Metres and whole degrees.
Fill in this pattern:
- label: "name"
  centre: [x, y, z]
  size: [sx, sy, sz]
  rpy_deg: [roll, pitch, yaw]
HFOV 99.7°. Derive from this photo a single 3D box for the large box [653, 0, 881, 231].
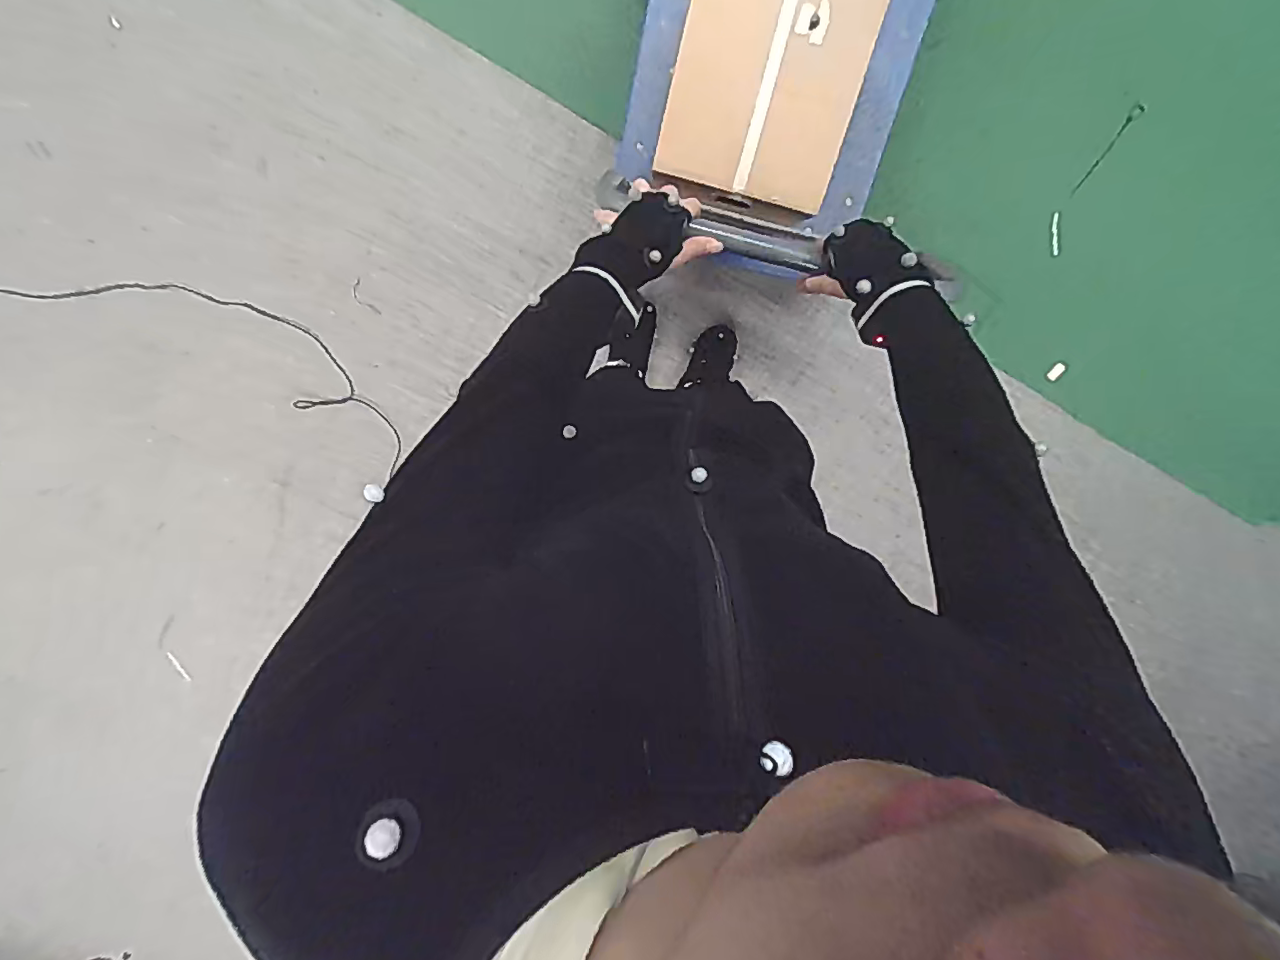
- label: "large box"
  centre: [0.218, -0.744, 1.050]
  size: [0.320, 0.320, 0.408]
  rpy_deg: [13, 109, -4]
